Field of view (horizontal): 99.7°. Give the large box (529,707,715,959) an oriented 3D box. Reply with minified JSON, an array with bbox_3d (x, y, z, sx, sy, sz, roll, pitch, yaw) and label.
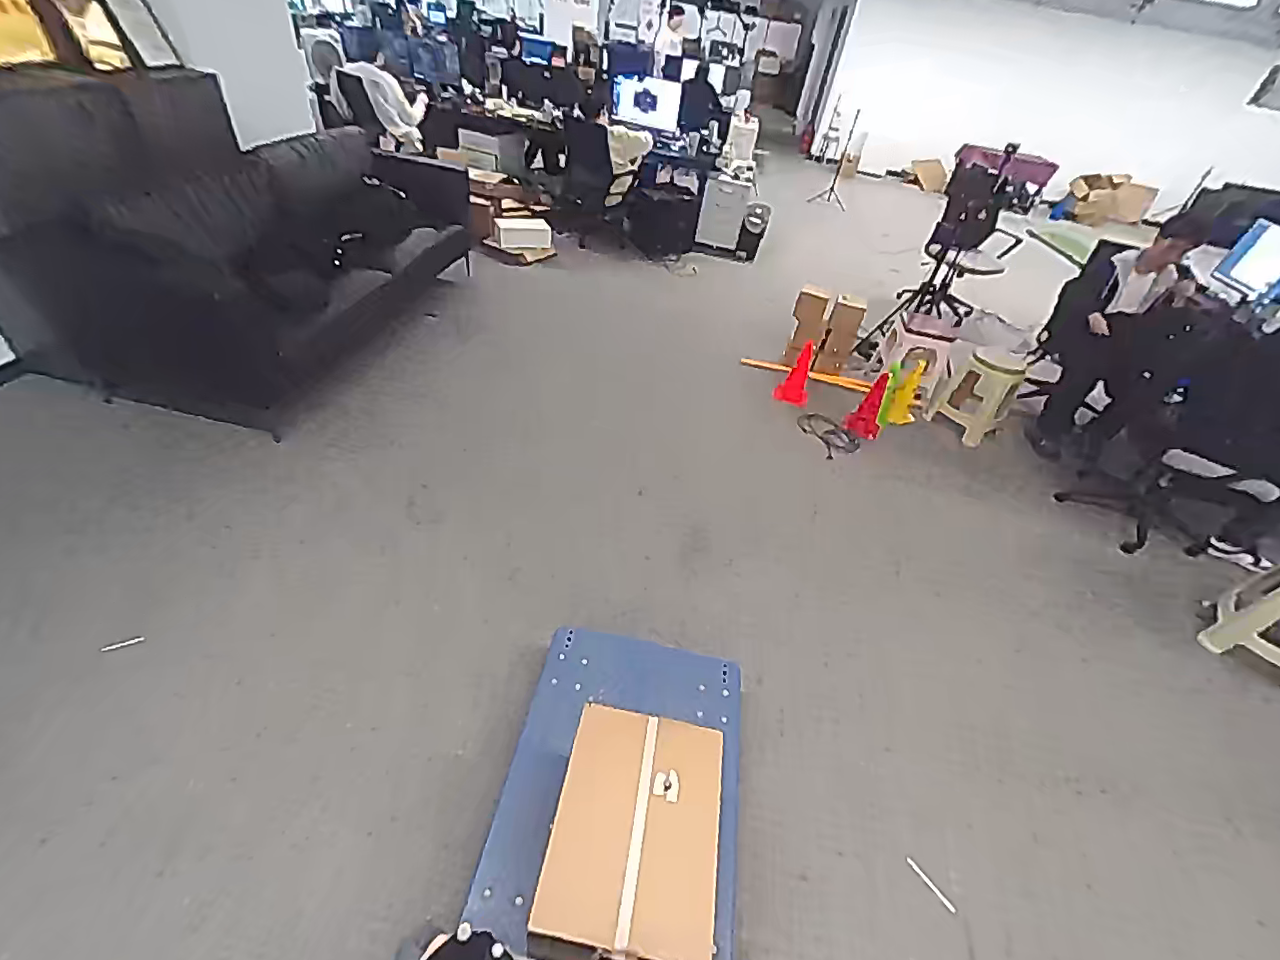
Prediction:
[{"bbox_3d":[-0.029,0.766,1.133,0.320,0.320,0.408,12,39,2],"label":"large box"}]
